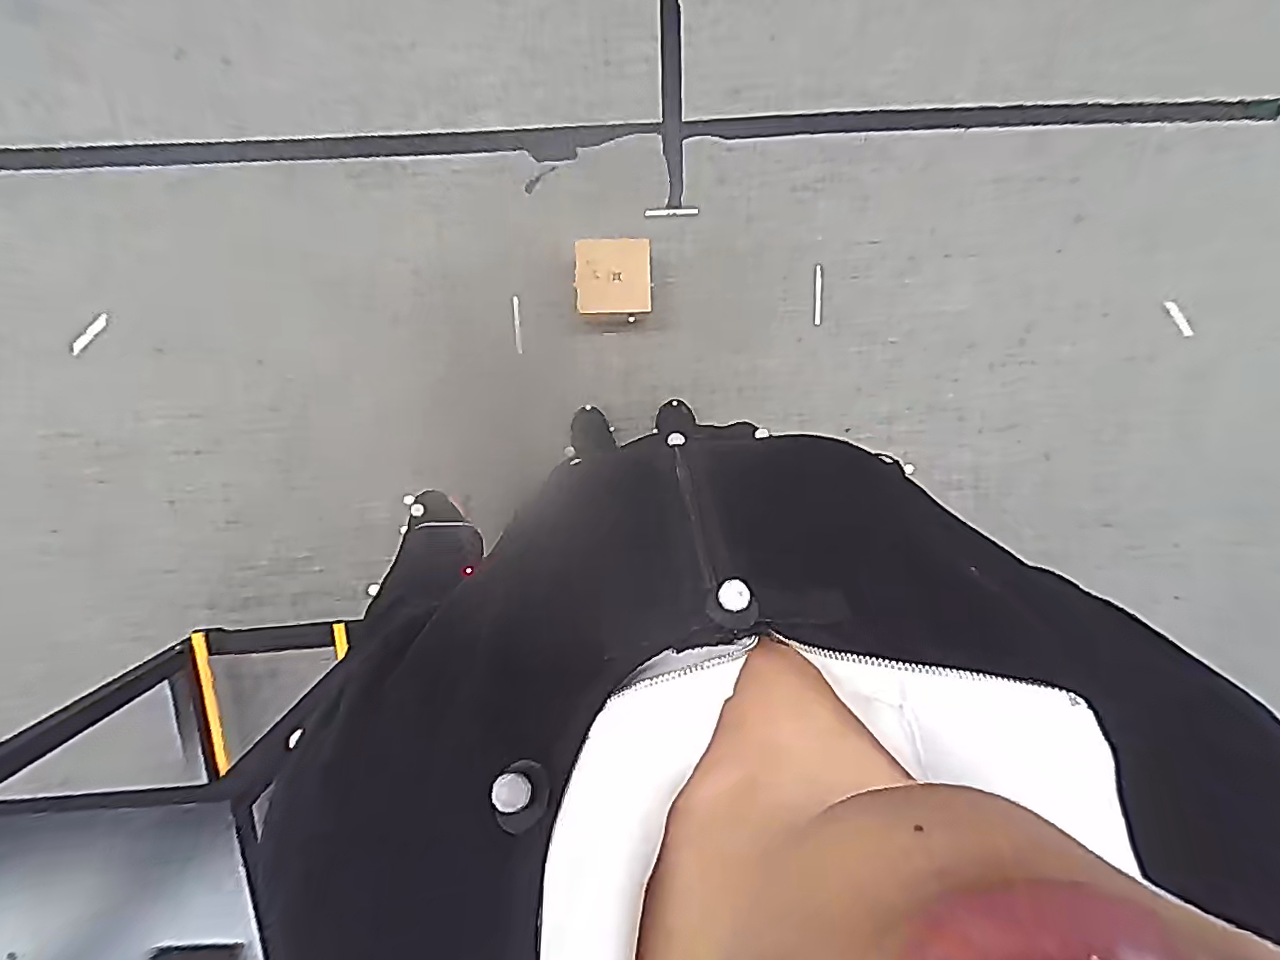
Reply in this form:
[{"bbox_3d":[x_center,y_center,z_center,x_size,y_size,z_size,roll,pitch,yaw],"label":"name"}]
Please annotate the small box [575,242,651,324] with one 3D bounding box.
[{"bbox_3d":[-0.067,-0.484,1.343,0.179,0.176,0.168,-2,99,-2],"label":"small box"}]
